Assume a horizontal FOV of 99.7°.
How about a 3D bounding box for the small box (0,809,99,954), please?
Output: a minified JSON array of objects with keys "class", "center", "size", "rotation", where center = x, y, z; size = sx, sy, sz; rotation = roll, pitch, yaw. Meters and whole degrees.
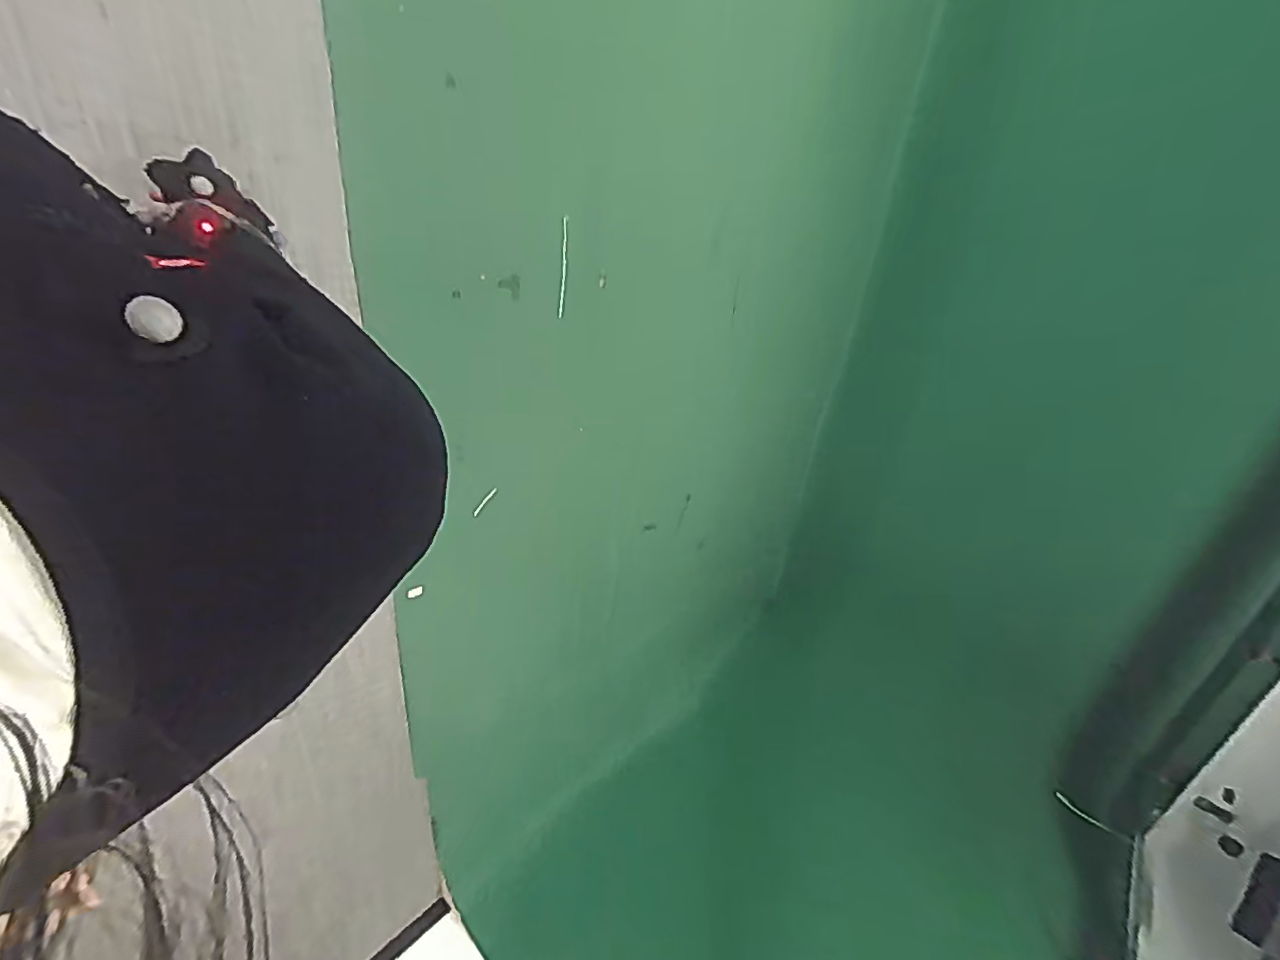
[{"class":"small box","center":[-1.376,0.900,1.222],"size":[0.179,0.176,0.168],"rotation":[-18,125,-45]}]
